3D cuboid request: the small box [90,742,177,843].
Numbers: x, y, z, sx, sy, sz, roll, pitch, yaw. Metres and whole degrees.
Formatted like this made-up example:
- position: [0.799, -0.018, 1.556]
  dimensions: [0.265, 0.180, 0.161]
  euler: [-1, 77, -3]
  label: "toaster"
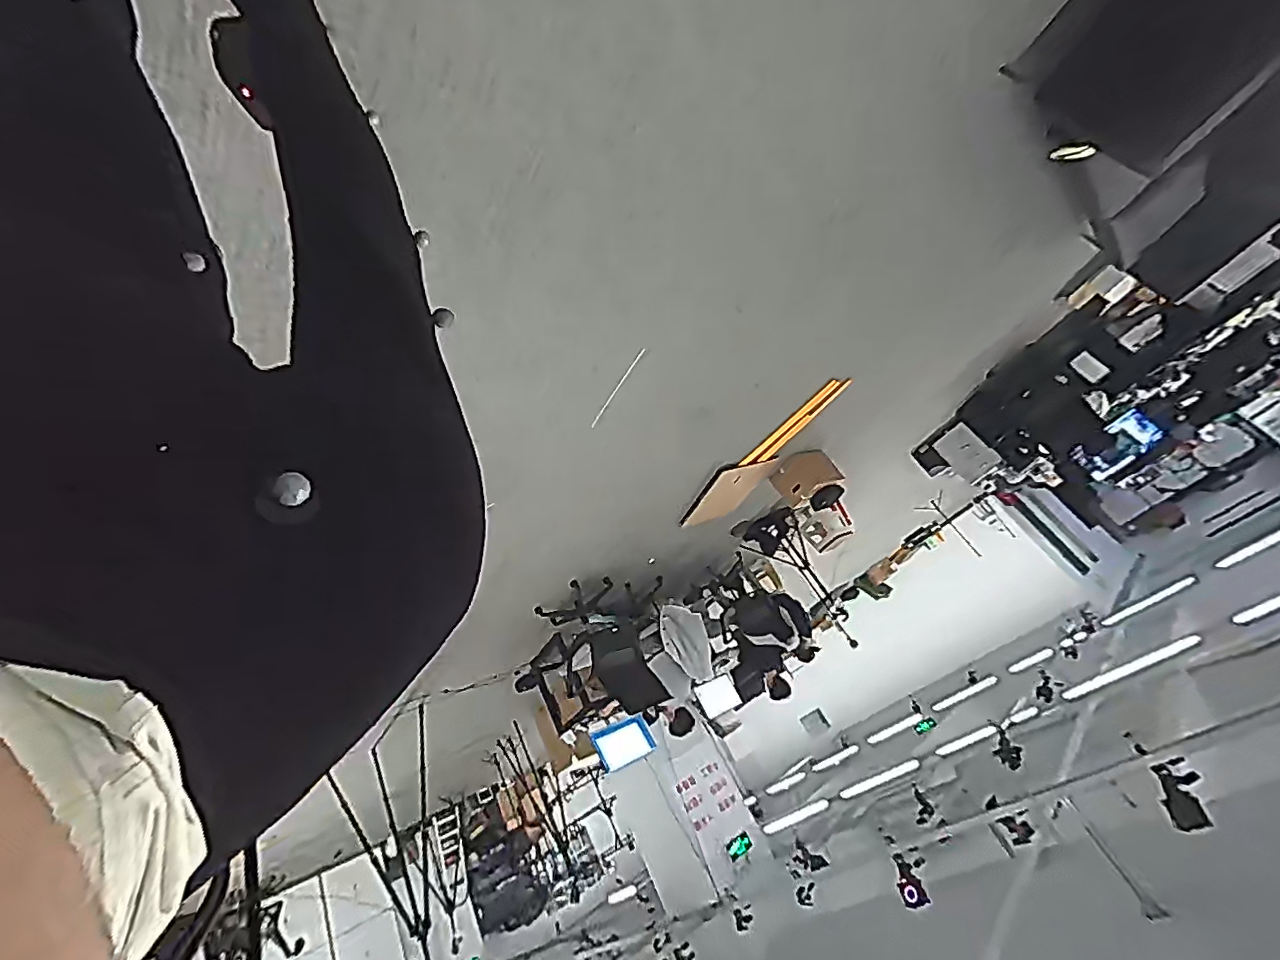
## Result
- position: [-1.399, 0.854, 1.493]
  dimensions: [0.168, 0.176, 0.179]
  euler: [-3, 142, -44]
  label: "small box"
